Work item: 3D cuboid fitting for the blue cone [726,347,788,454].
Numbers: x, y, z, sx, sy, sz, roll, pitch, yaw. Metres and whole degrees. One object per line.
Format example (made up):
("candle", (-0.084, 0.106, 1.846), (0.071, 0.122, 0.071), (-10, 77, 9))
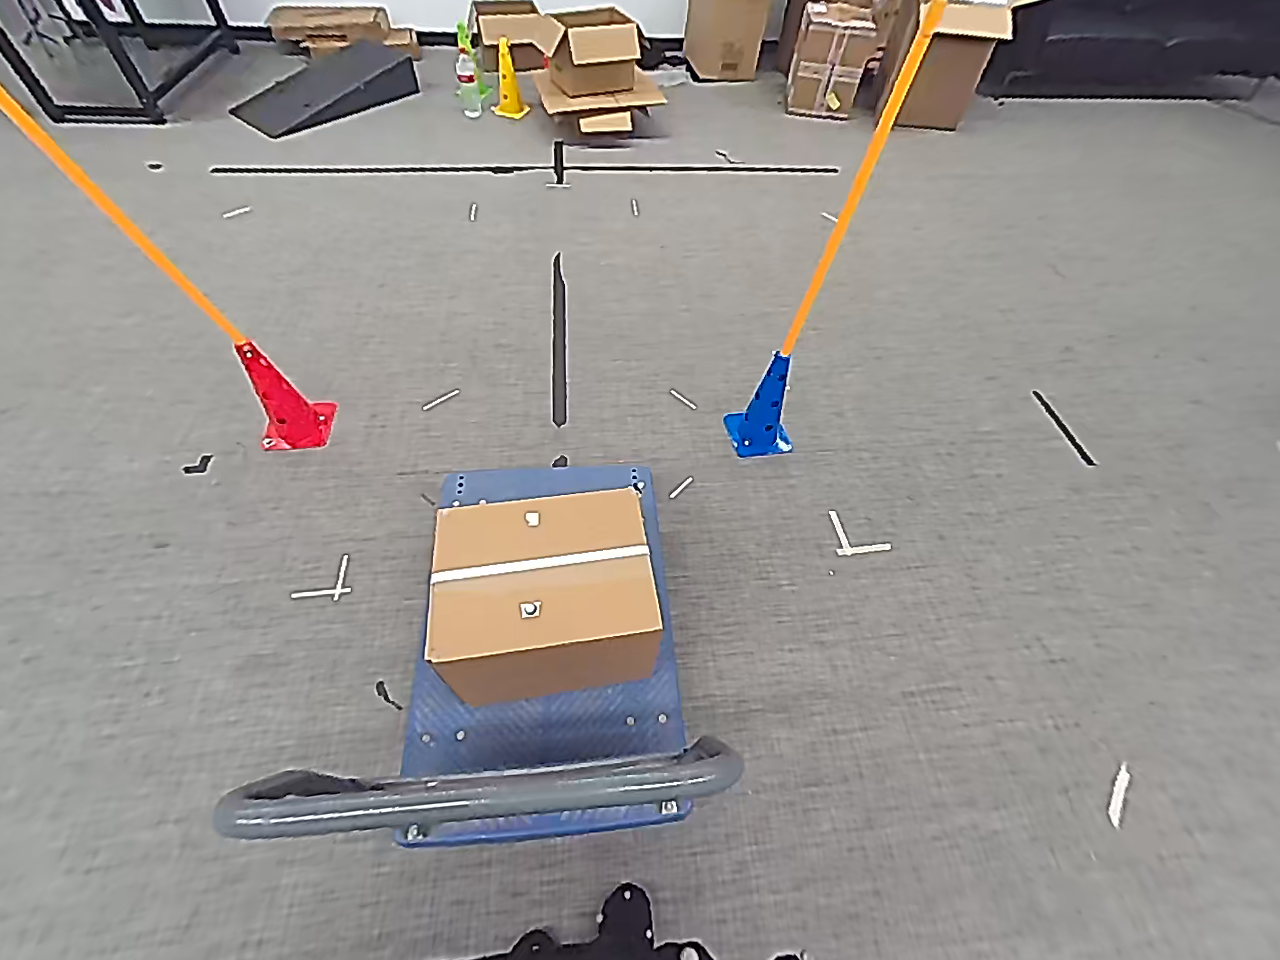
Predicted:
("blue cone", (0.418, -0.266, 1.759), (0.193, 0.380, 0.192), (-6, 54, -9))
